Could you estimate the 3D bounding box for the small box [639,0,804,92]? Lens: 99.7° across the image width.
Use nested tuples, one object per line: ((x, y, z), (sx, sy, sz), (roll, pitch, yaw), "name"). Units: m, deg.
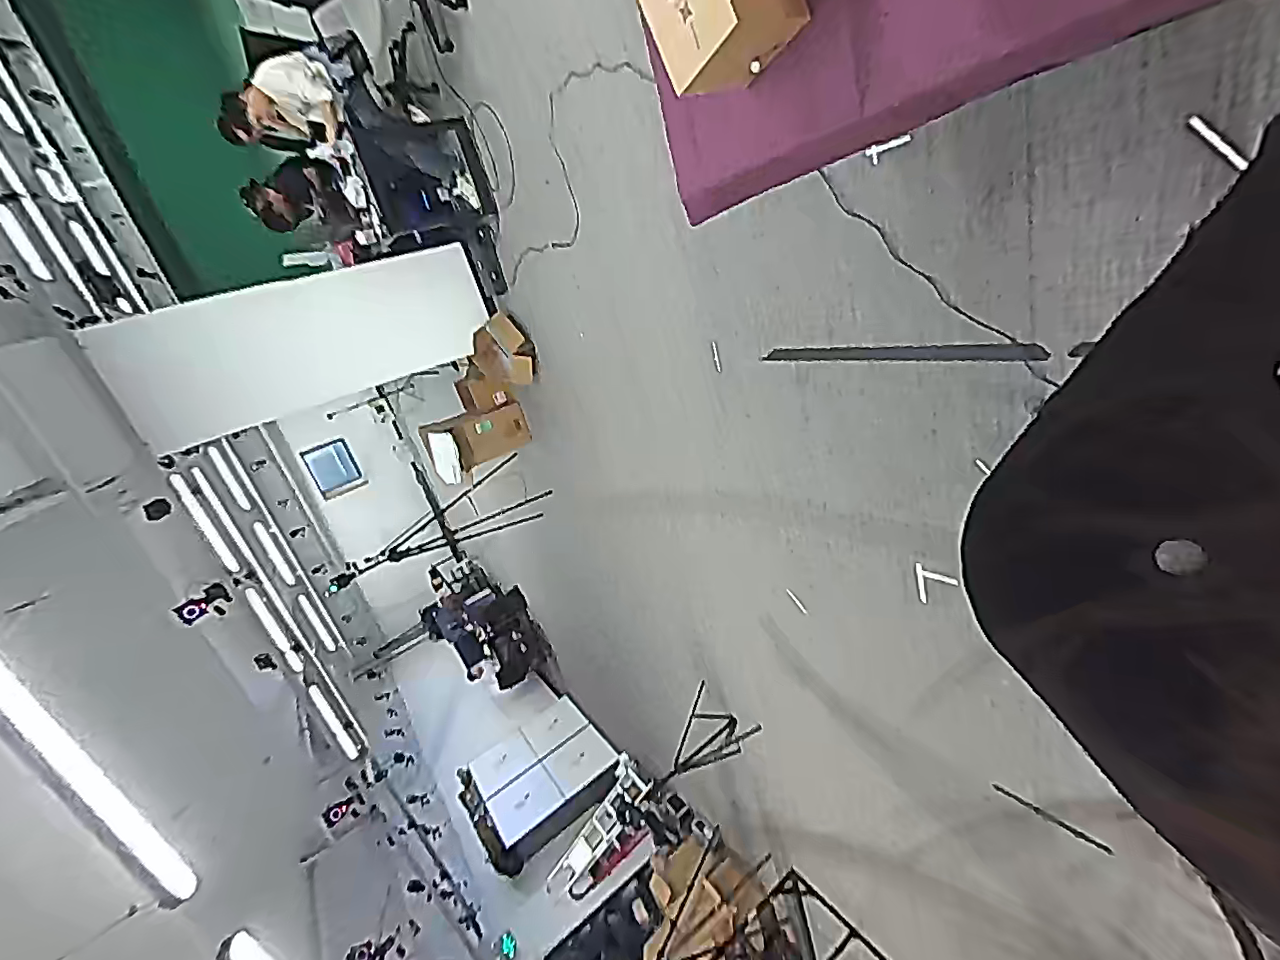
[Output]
((0.127, -0.768, 0.865), (0.168, 0.176, 0.179), (-6, 111, 62), "small box")
